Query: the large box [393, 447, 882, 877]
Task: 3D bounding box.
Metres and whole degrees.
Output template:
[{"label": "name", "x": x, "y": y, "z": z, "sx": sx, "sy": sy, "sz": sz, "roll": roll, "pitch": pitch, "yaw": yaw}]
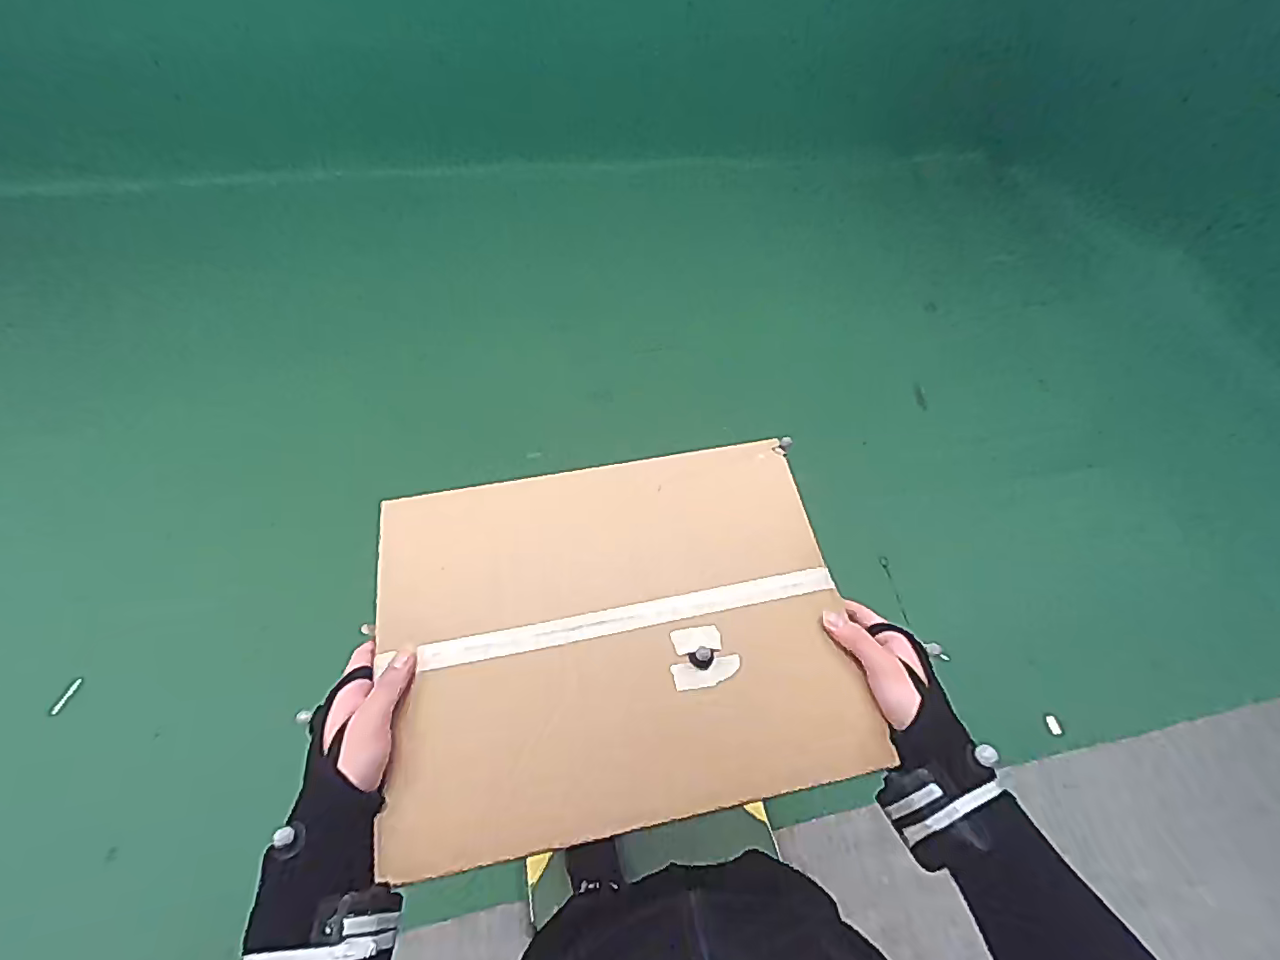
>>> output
[{"label": "large box", "x": -0.026, "y": 0.201, "z": 0.623, "sx": 0.408, "sy": 0.320, "sz": 0.320, "roll": -10, "pitch": 63, "yaw": -7}]
